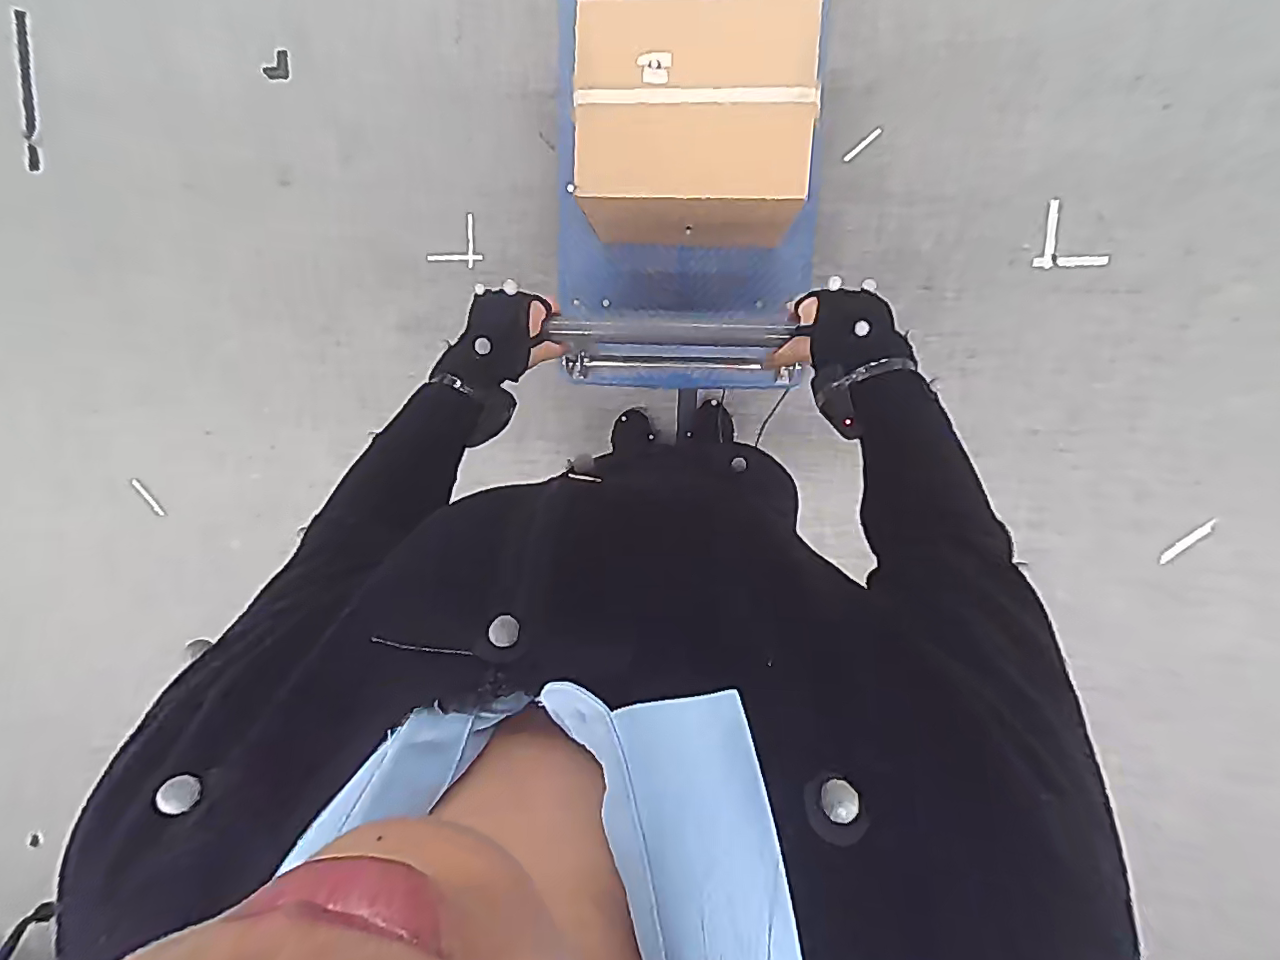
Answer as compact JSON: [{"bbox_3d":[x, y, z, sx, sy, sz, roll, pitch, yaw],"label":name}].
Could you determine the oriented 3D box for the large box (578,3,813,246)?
[{"bbox_3d":[0.104,-0.667,1.080,0.408,0.320,0.320,3,98,5],"label":"large box"}]
